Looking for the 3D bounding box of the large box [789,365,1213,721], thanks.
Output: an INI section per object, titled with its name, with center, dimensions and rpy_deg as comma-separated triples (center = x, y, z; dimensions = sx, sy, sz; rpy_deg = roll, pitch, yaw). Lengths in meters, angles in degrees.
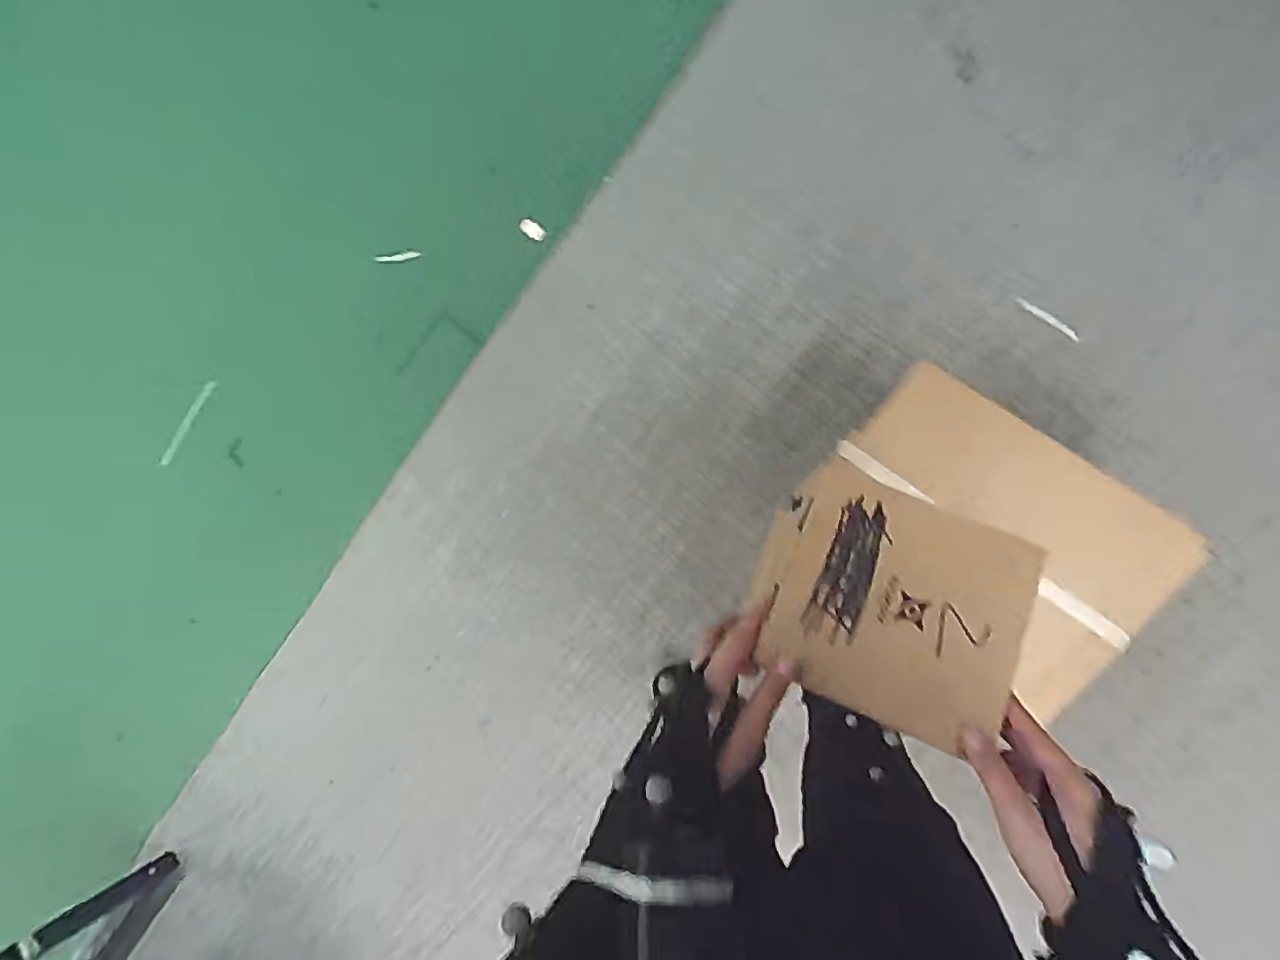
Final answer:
[large box]
center = 0.490, 0.076, 0.859
dimensions = 0.408, 0.320, 0.320
rpy_deg = 38, 101, 12
